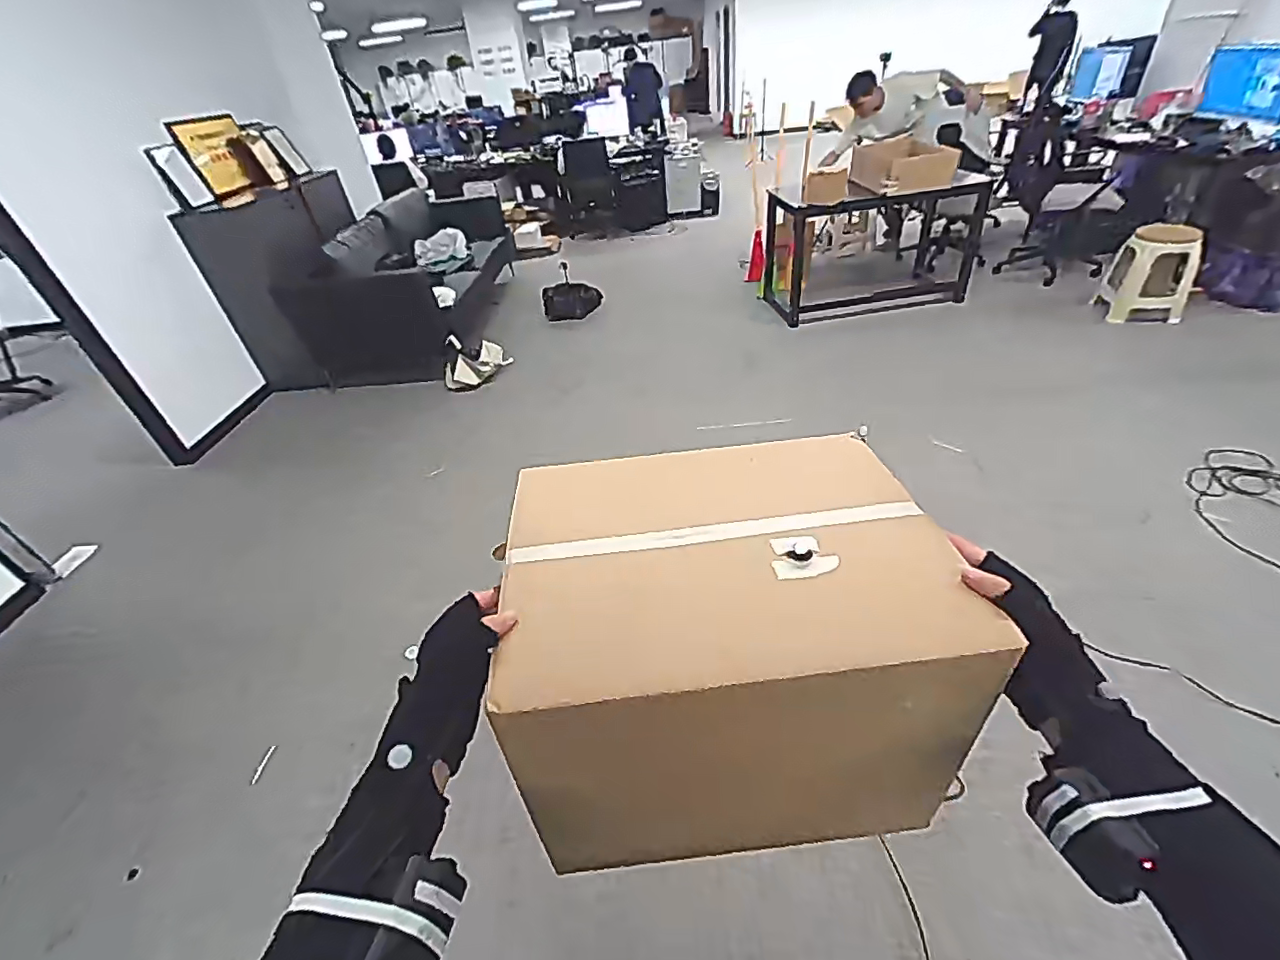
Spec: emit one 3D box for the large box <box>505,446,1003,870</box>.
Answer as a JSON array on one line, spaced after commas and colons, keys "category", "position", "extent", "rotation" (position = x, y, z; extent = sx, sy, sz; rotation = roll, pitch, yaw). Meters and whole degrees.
[{"category": "large box", "position": [0.086, 0.187, 0.620], "extent": [0.408, 0.320, 0.320], "rotation": [-6, 35, -2]}]
